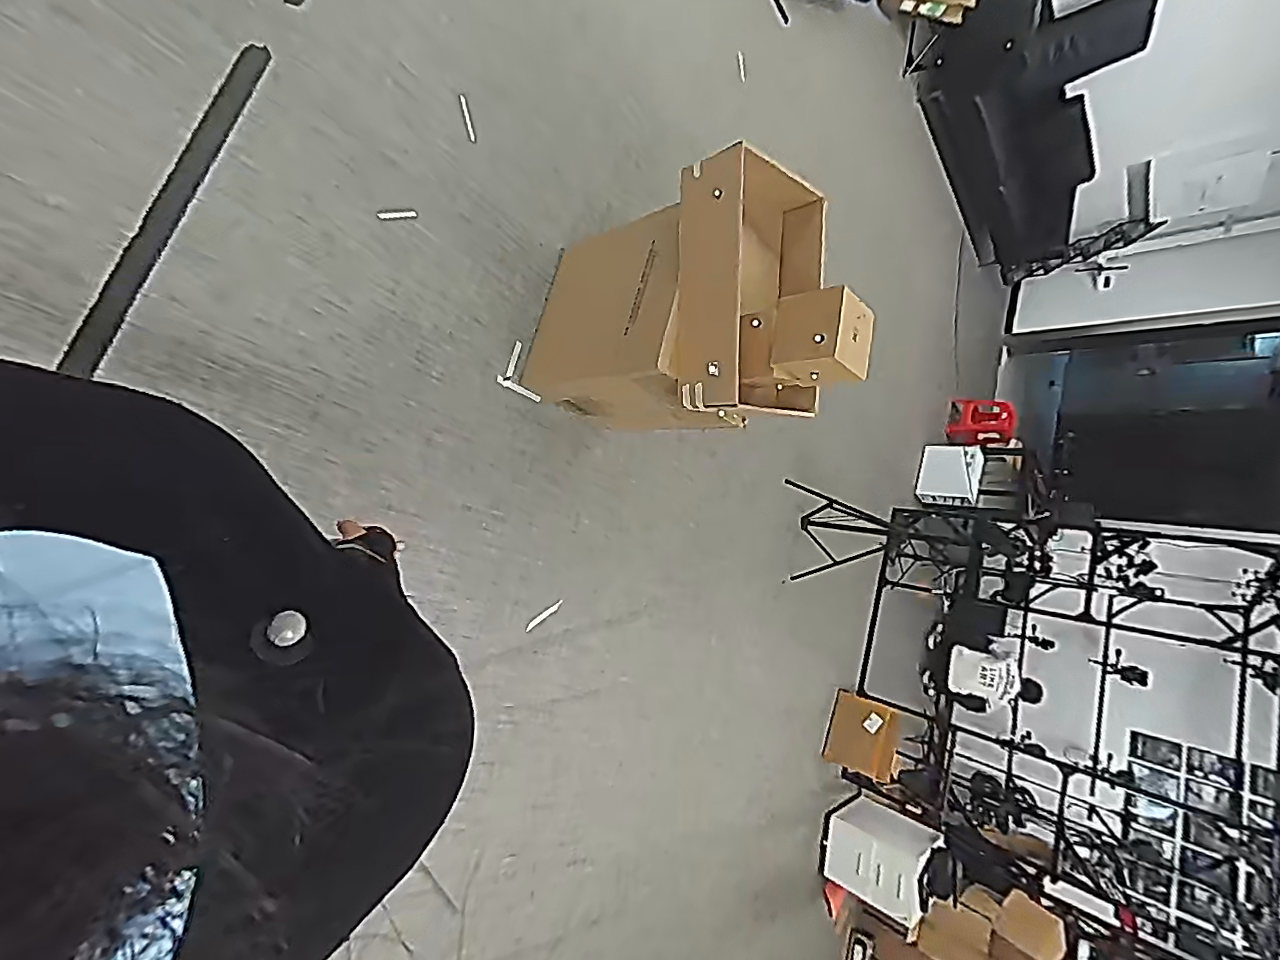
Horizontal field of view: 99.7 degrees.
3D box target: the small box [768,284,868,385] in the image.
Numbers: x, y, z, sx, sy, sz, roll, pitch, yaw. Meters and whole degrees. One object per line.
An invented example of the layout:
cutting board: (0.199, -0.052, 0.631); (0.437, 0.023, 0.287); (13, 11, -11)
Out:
small box: (0.429, -0.341, 1.311); (0.168, 0.176, 0.179); (17, 80, -44)
